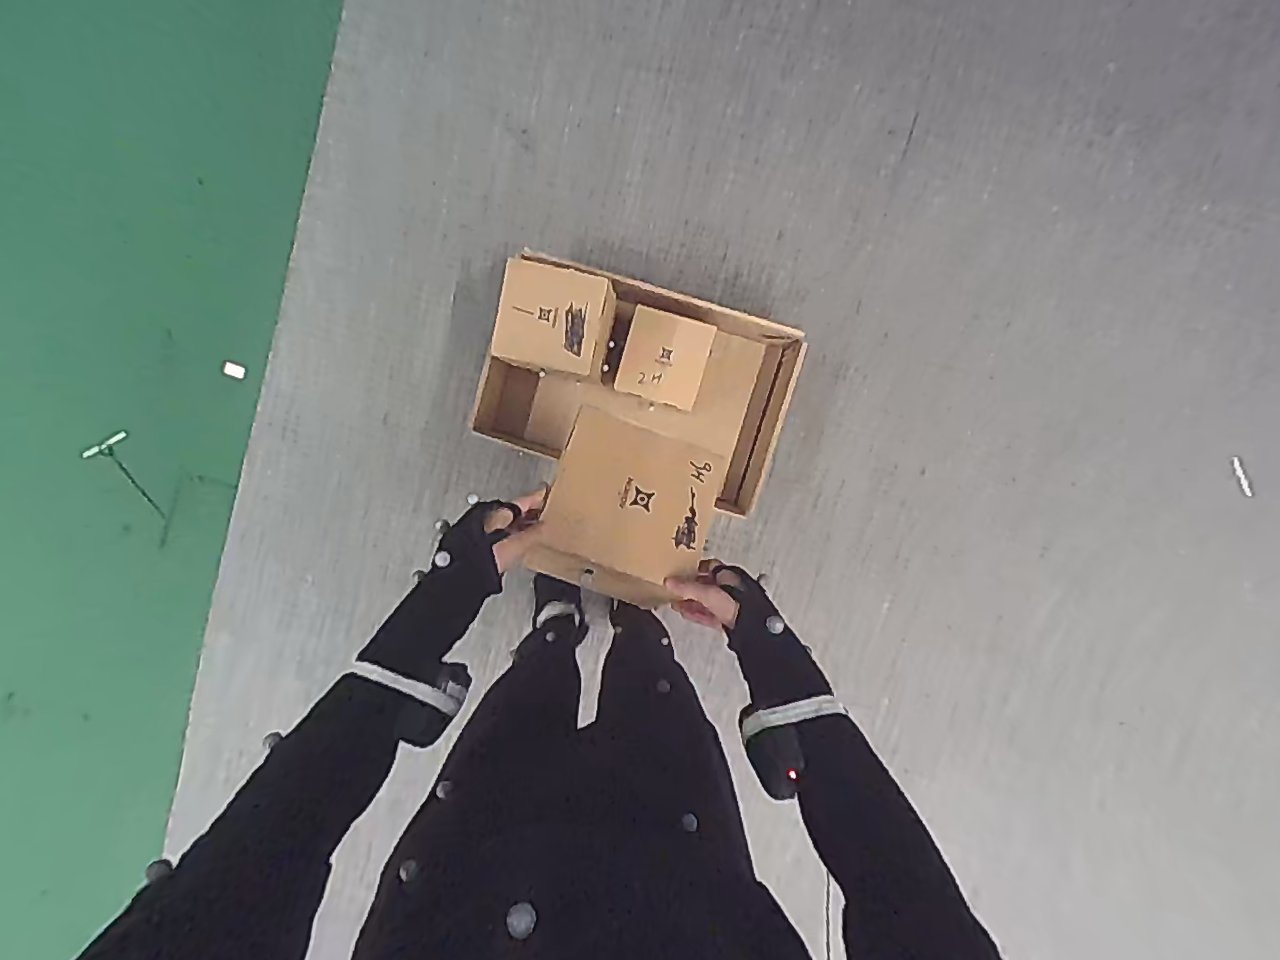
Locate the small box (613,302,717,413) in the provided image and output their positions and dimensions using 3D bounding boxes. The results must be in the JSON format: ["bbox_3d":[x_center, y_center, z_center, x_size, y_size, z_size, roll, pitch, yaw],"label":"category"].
[{"bbox_3d":[0.052,-0.249,1.140,0.168,0.176,0.179,17,96,2],"label":"small box"}]

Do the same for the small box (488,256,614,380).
[{"bbox_3d":[-0.151,-0.282,0.981,0.179,0.176,0.168,13,96,2],"label":"small box"}]

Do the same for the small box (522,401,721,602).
[{"bbox_3d":[-0.029,0.038,0.645,0.179,0.176,0.168,21,69,-5],"label":"small box"}]
